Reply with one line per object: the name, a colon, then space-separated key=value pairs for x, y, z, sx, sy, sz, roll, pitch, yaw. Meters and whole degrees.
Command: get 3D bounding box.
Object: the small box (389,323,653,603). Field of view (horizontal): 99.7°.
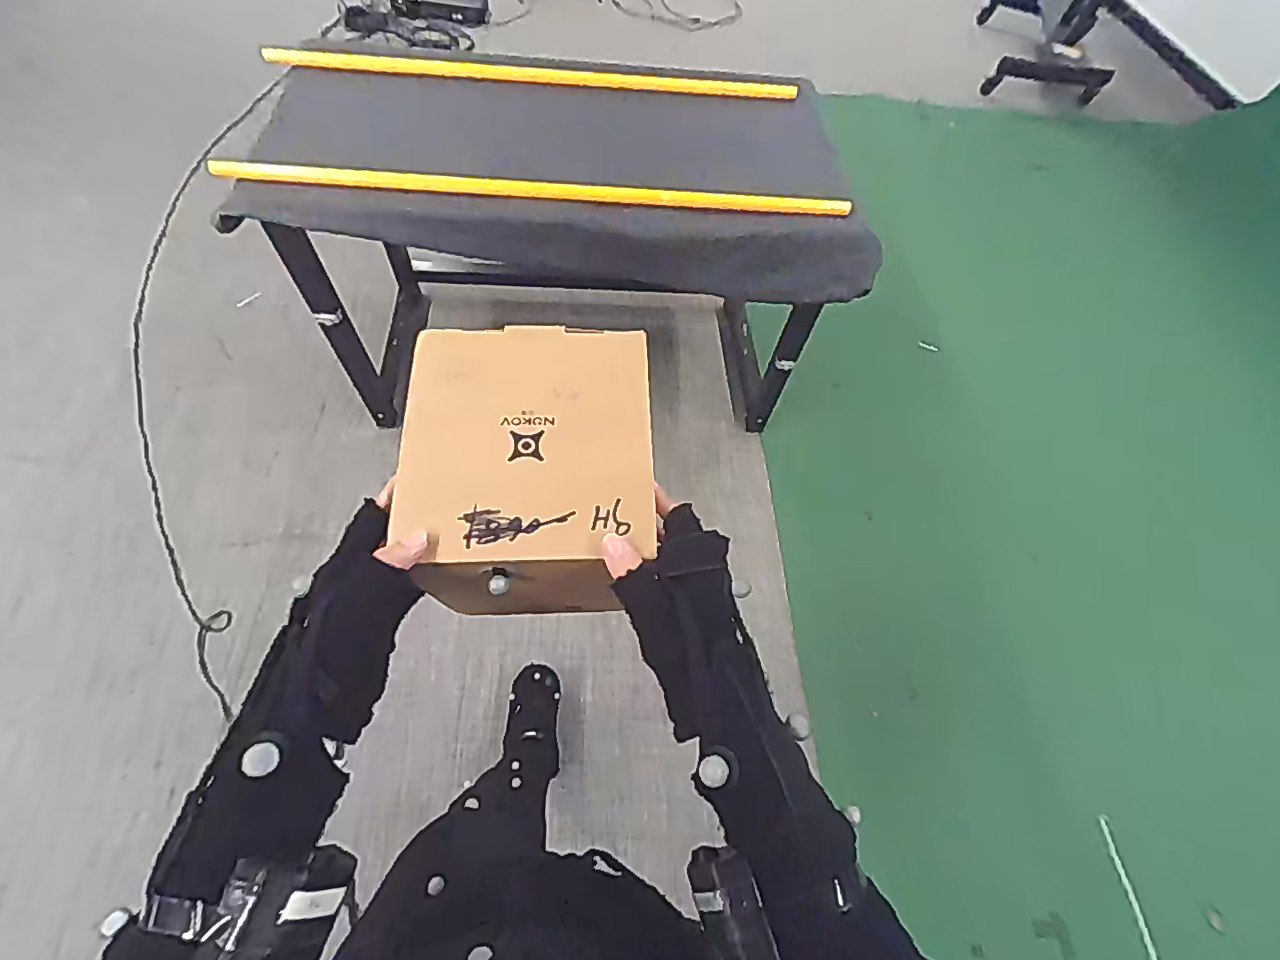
small box: x=-0.079 y=-0.005 z=0.442 sx=0.168 sy=0.176 sz=0.179 roll=-1 pitch=66 yaw=-2
